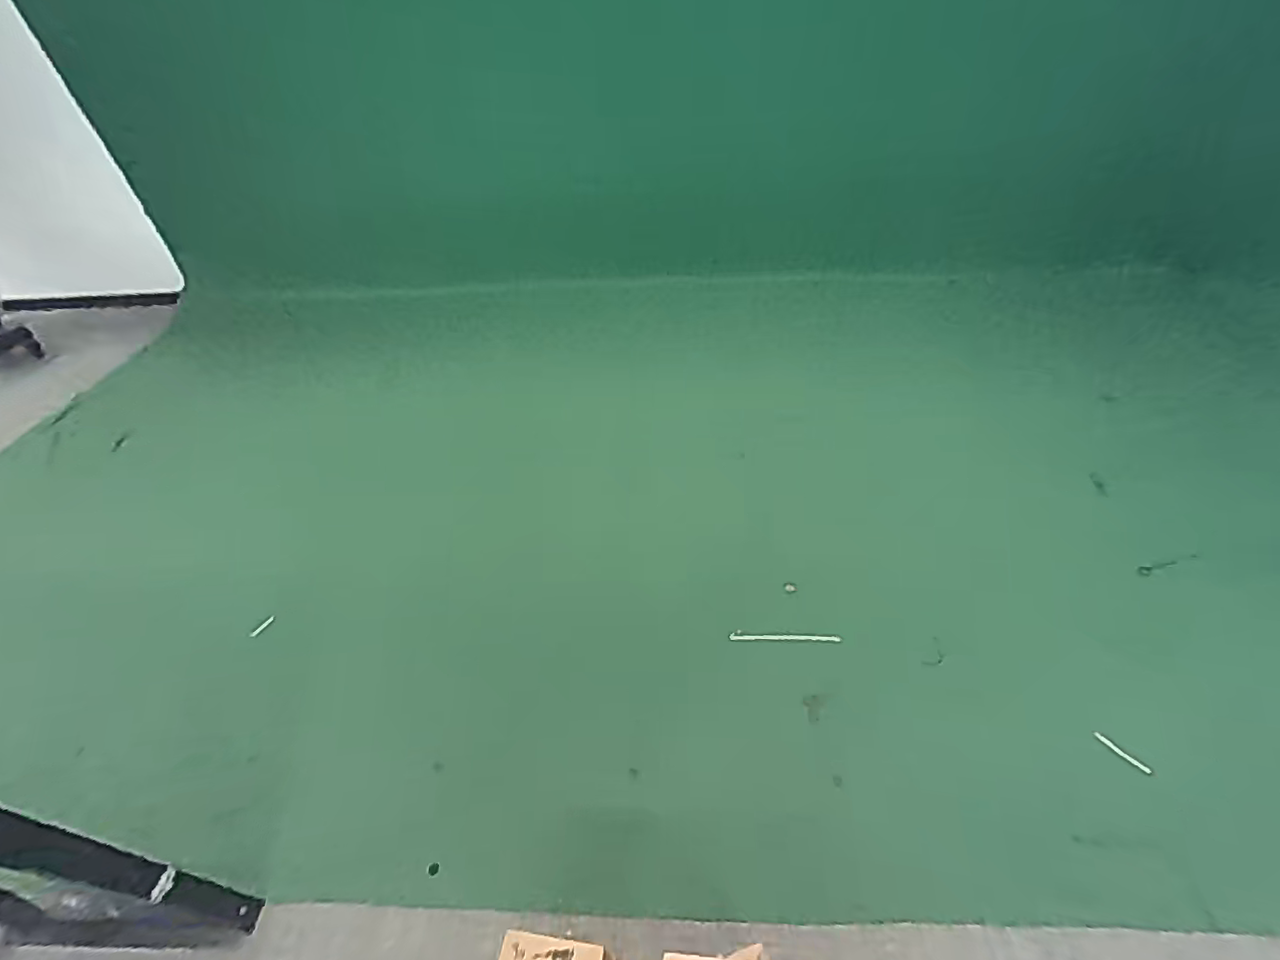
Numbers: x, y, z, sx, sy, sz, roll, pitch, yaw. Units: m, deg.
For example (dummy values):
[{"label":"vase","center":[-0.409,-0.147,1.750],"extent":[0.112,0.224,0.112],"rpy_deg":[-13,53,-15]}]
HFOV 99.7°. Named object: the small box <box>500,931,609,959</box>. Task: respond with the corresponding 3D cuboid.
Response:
[{"label":"small box","center":[-0.140,0.847,0.850],"extent":[0.168,0.176,0.179],"rpy_deg":[3,44,9]}]
